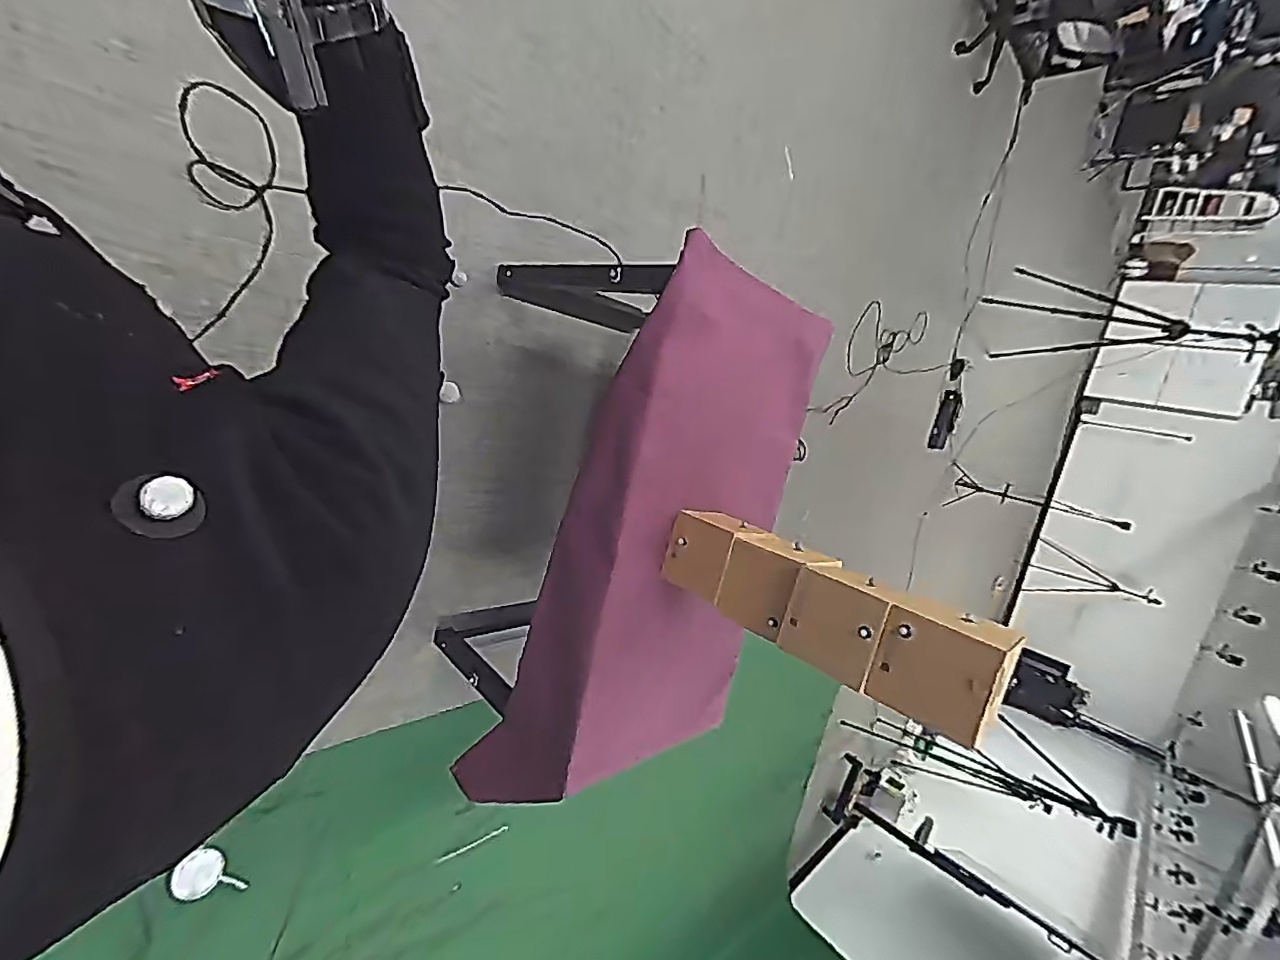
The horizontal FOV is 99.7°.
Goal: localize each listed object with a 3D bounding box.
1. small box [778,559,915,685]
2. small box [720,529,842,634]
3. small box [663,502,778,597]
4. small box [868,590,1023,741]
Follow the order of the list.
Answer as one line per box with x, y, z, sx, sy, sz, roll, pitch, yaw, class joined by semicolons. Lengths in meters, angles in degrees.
0.389;0.254;1.016;0.179;0.176;0.168;10;99;-48;small box
0.294;0.209;1.143;0.168;0.176;0.179;6;102;-46;small box
0.184;0.156;1.250;0.179;0.176;0.168;9;100;-46;small box
0.513;0.299;0.915;0.179;0.176;0.168;4;104;-47;small box
